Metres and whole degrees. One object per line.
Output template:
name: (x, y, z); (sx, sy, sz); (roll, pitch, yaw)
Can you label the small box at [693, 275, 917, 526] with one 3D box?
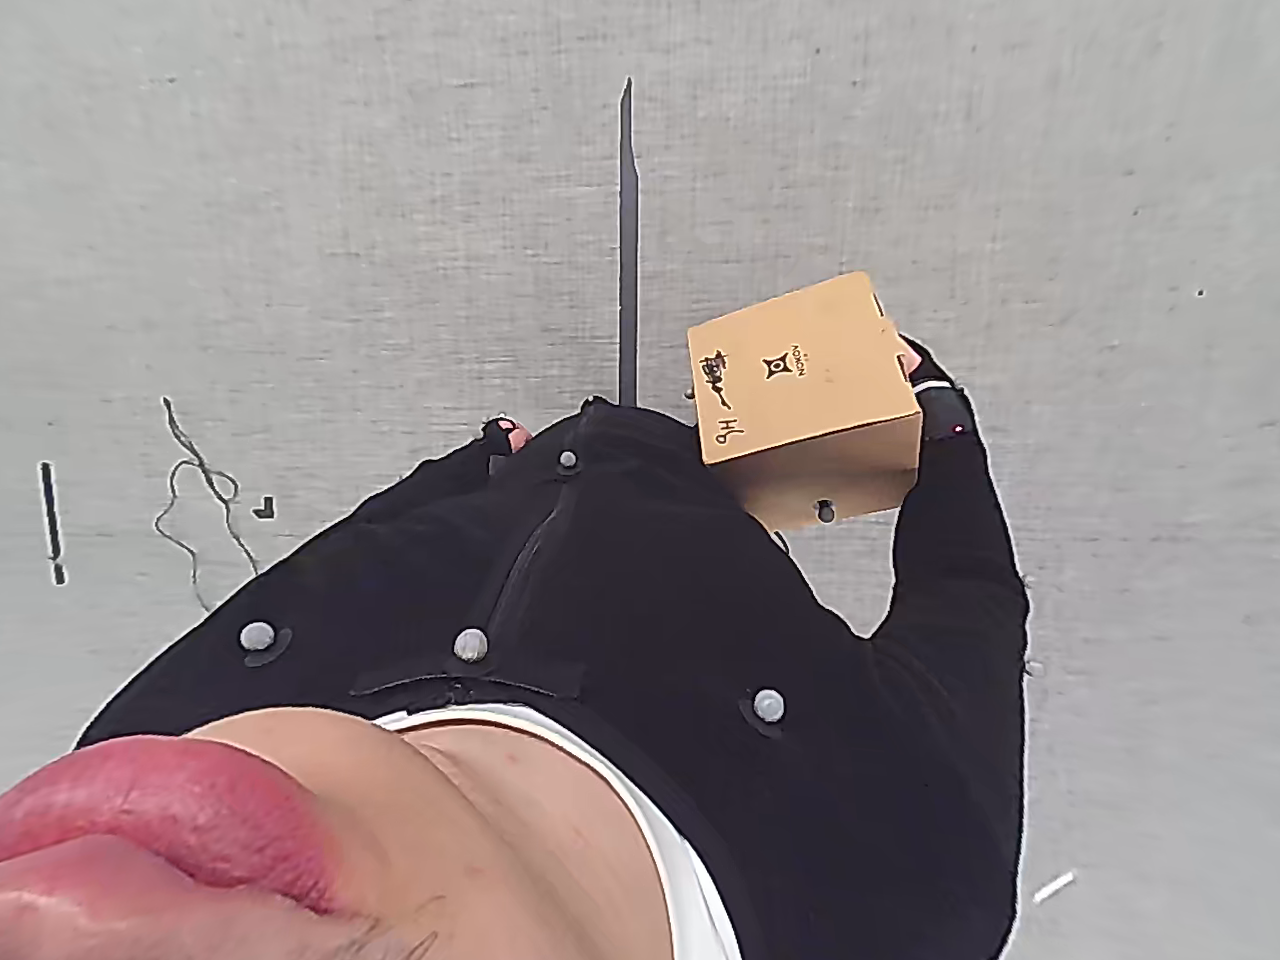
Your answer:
small box: (0.165, -0.069, 0.558); (0.179, 0.176, 0.168); (-13, 57, 17)
